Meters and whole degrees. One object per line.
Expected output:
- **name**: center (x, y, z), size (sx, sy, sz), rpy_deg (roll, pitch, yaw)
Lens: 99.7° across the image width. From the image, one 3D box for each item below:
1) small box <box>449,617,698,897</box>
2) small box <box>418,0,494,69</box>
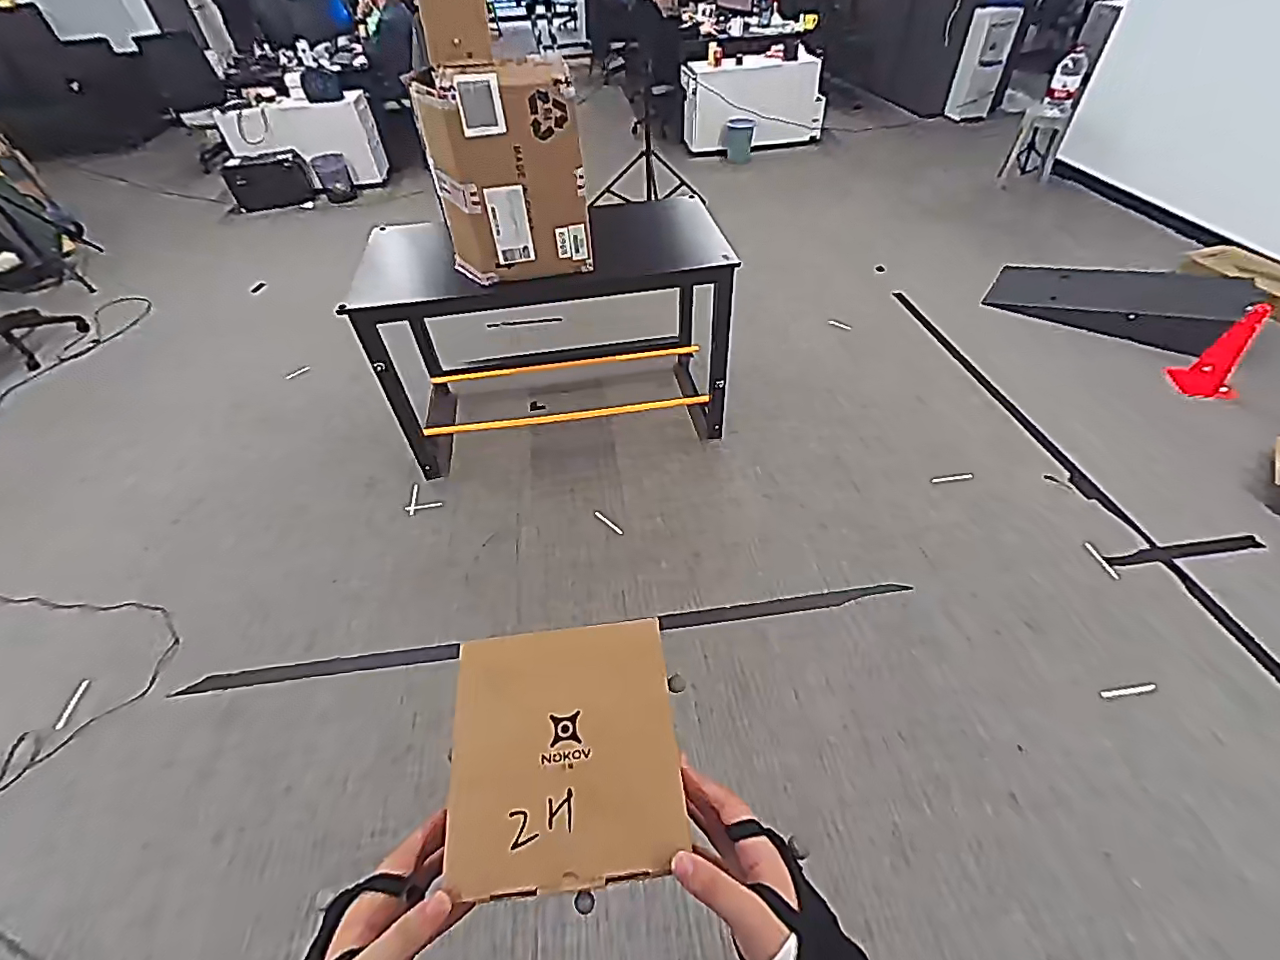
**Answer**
- **small box**: center (-0.051, 0.240, 0.465), size (0.168, 0.176, 0.179), rpy_deg (-6, 53, -3)
- **small box**: center (-0.485, -1.203, 1.428), size (0.168, 0.176, 0.179), rpy_deg (-10, 45, -10)
